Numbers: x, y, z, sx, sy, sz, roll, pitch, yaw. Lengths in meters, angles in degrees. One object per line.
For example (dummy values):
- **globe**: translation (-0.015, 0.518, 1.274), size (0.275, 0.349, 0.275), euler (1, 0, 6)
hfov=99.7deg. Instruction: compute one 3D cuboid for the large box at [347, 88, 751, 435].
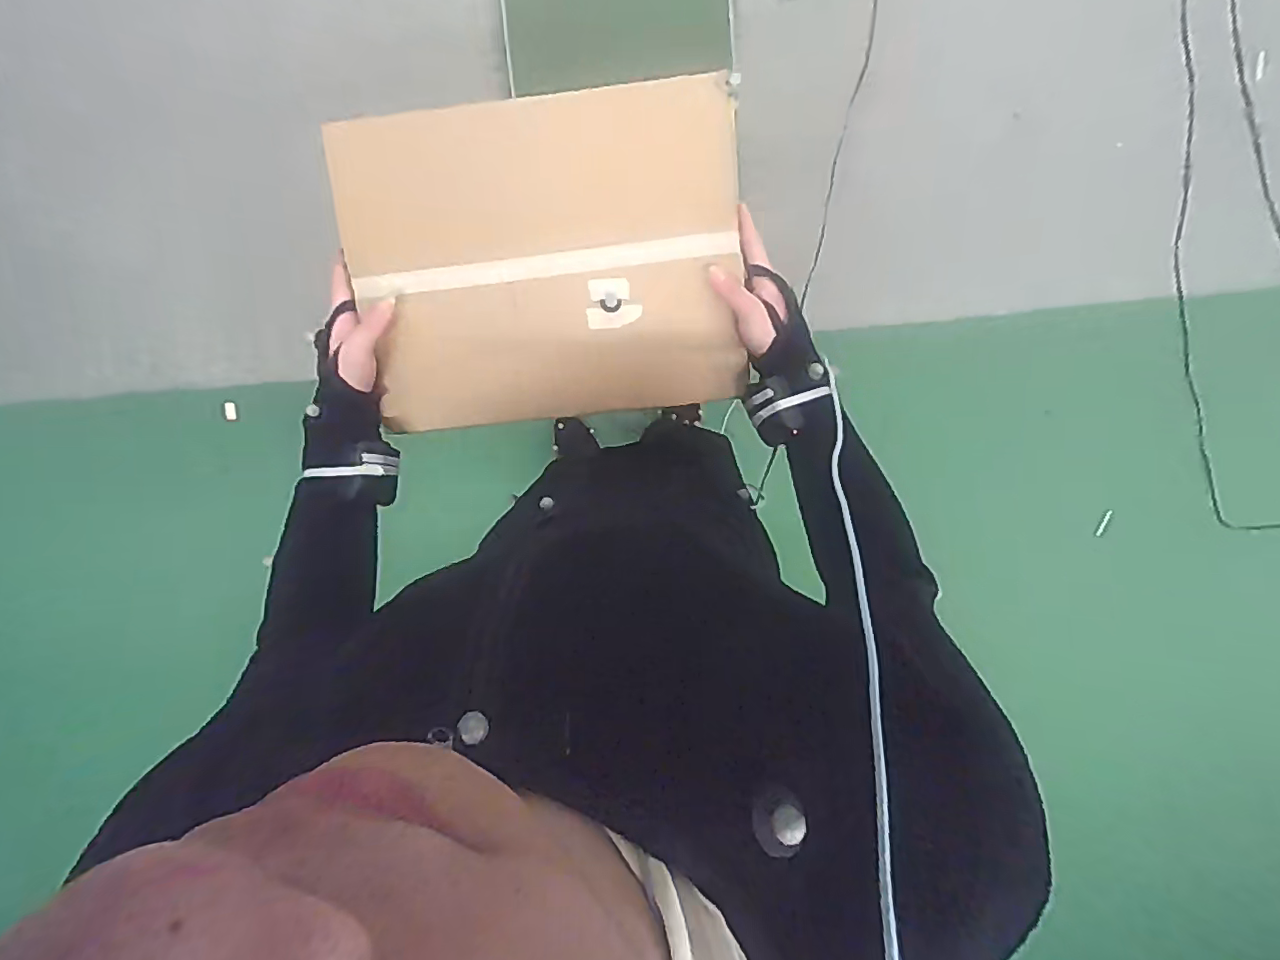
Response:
- **large box**: translation (-0.089, -0.249, 0.721), size (0.408, 0.320, 0.320), euler (-6, 102, 2)
